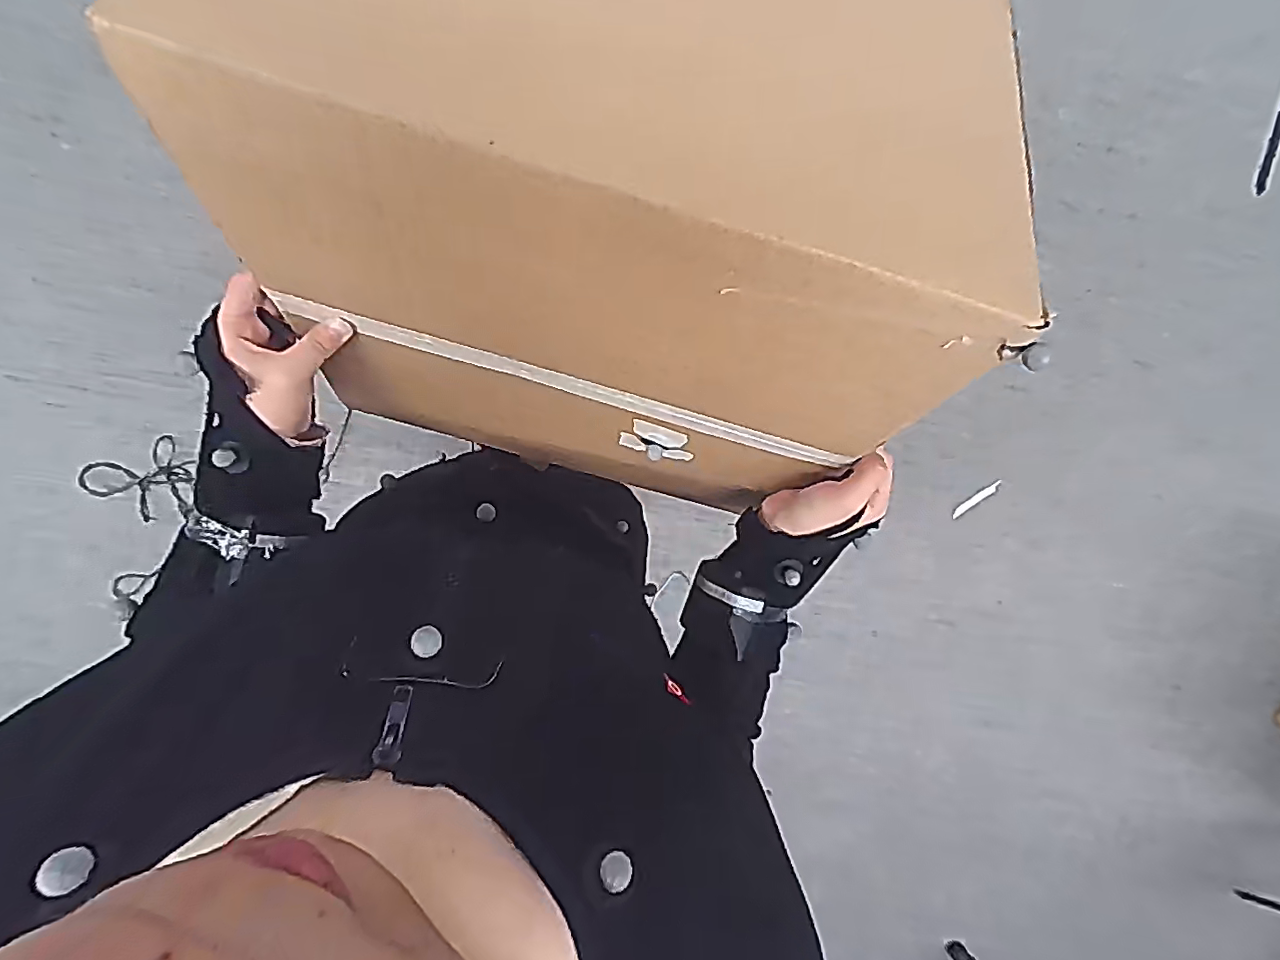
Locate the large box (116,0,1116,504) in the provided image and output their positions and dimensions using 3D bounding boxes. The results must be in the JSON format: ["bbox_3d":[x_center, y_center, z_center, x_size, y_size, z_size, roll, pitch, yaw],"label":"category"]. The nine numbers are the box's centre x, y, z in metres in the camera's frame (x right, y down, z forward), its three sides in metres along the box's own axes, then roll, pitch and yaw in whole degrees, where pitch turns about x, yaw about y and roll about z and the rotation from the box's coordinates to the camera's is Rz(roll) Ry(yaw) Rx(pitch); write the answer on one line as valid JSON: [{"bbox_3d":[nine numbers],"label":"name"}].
[{"bbox_3d":[0.003,-0.214,0.394,0.408,0.320,0.320,14,69,-5],"label":"large box"}]
